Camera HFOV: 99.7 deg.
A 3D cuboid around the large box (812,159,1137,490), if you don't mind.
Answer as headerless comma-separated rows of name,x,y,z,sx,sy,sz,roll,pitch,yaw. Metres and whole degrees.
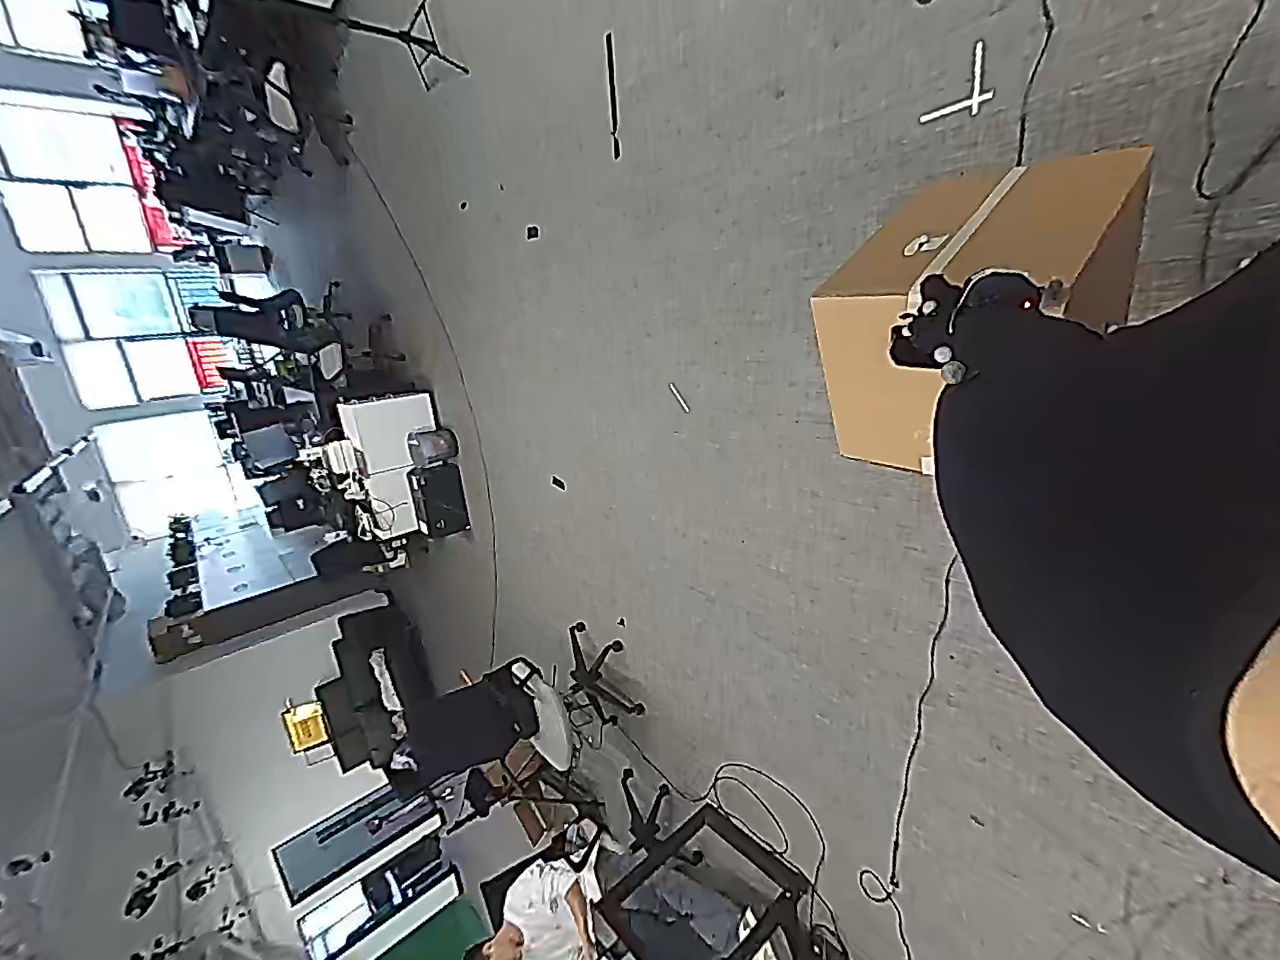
large box,0.535,-0.249,0.871,0.320,0.408,0.320,16,143,45
